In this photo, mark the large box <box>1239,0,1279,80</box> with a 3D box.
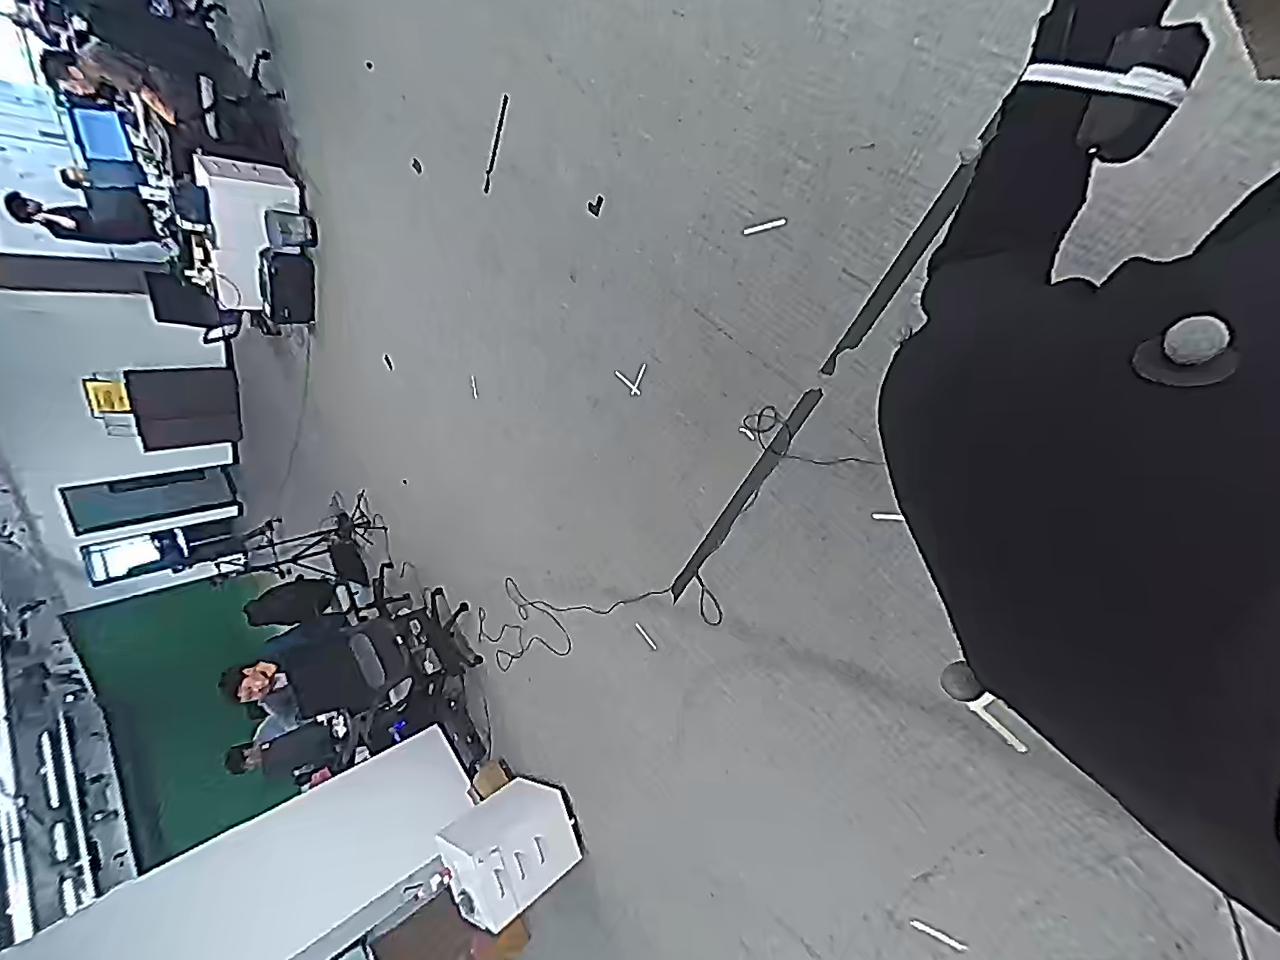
[{"bbox_3d":[0.569,-0.362,0.188,0.408,0.320,0.320,33,130,38],"label":"large box"}]
